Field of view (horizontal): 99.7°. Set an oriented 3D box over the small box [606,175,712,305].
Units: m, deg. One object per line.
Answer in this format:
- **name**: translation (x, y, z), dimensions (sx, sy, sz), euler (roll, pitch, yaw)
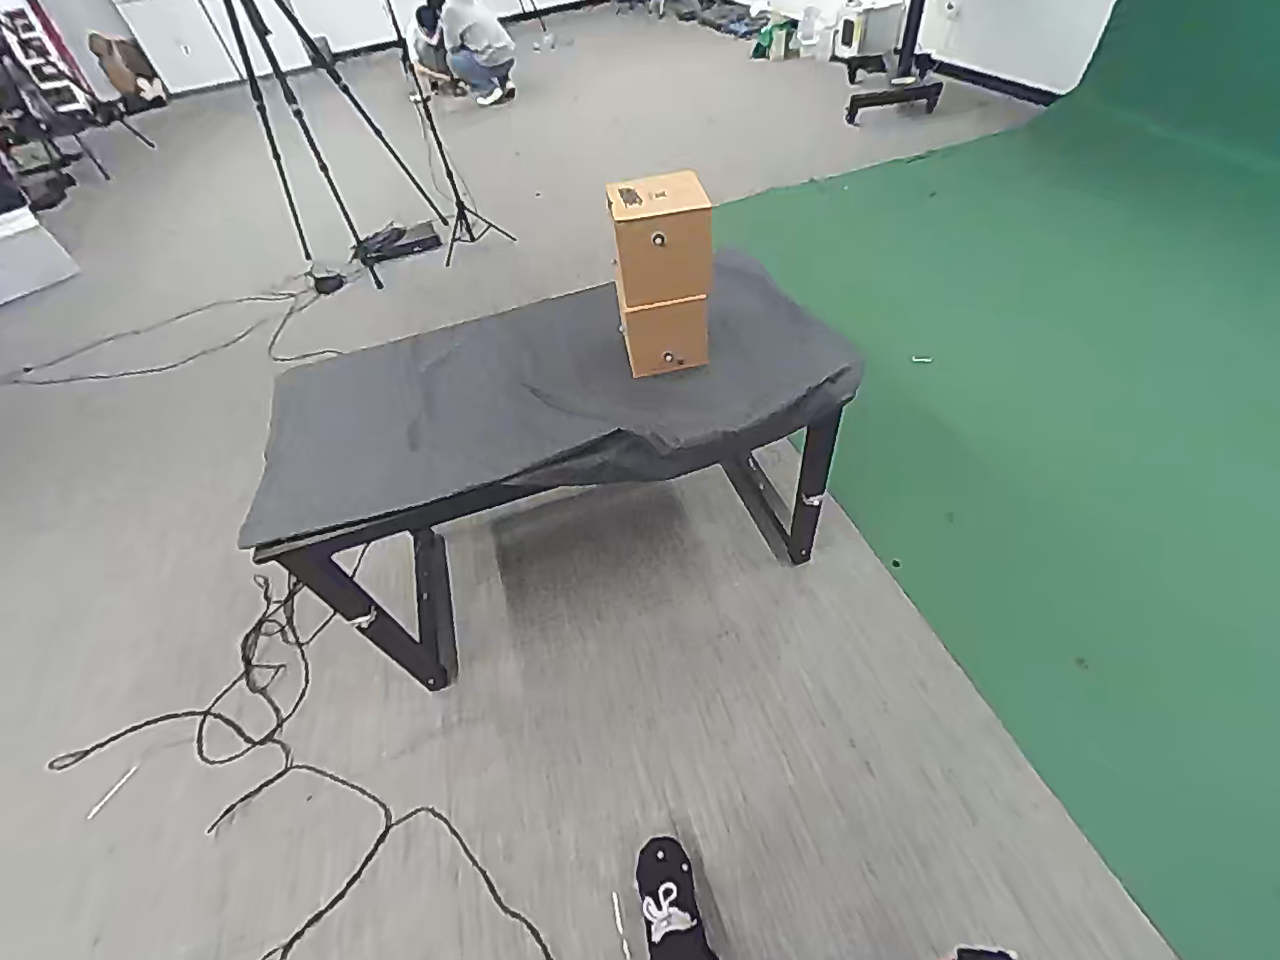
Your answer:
- **small box**: translation (0.039, -0.461, 1.050), dimensions (0.179, 0.176, 0.168), euler (-10, 50, 0)
